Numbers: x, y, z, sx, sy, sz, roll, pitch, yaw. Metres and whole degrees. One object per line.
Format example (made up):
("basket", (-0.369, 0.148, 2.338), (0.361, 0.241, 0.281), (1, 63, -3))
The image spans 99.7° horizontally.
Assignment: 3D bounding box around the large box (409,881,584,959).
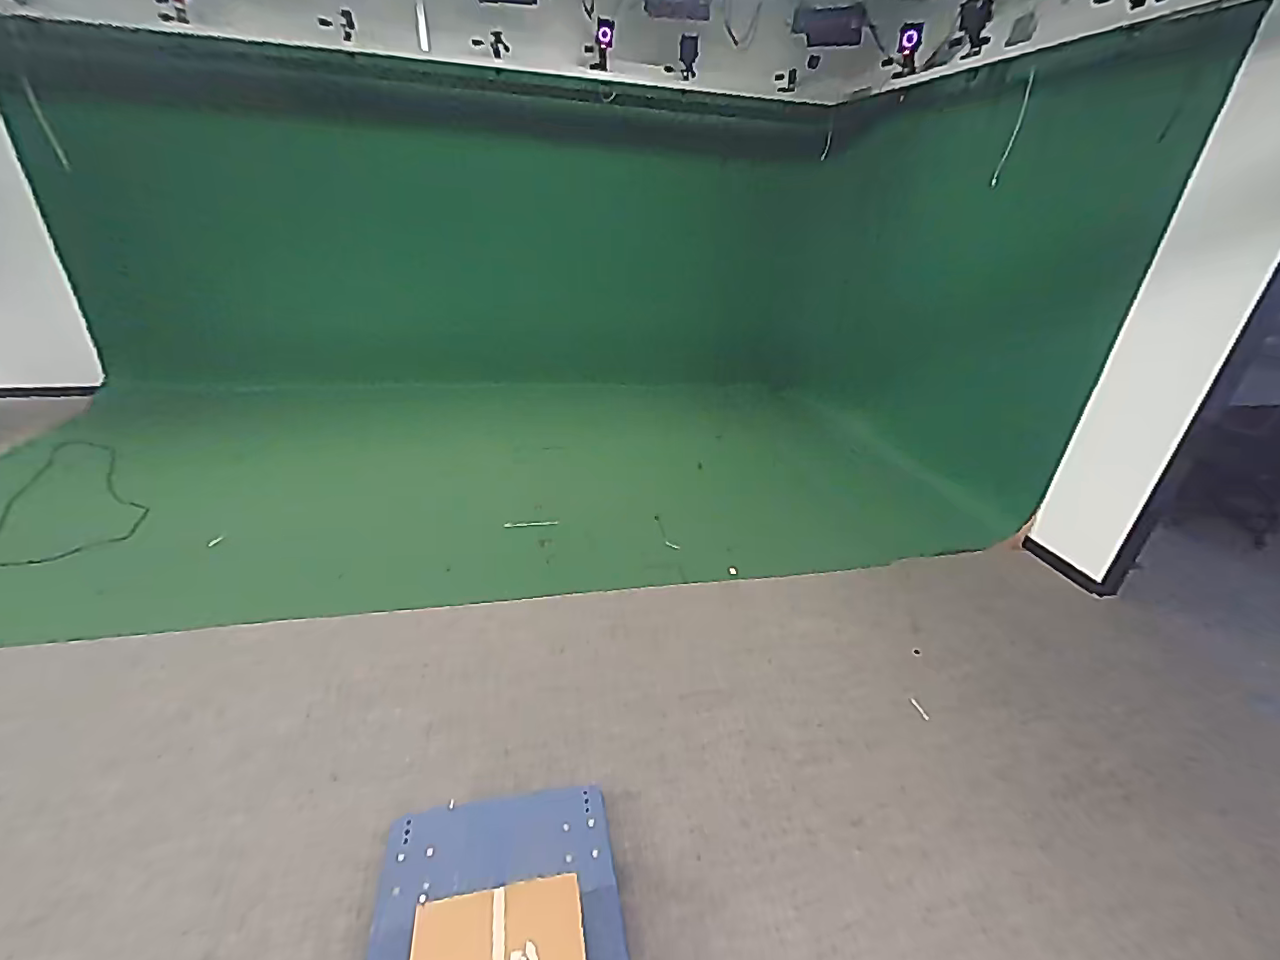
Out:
("large box", (-0.247, 1.049, 0.966), (0.320, 0.320, 0.408), (-2, 26, -13))
